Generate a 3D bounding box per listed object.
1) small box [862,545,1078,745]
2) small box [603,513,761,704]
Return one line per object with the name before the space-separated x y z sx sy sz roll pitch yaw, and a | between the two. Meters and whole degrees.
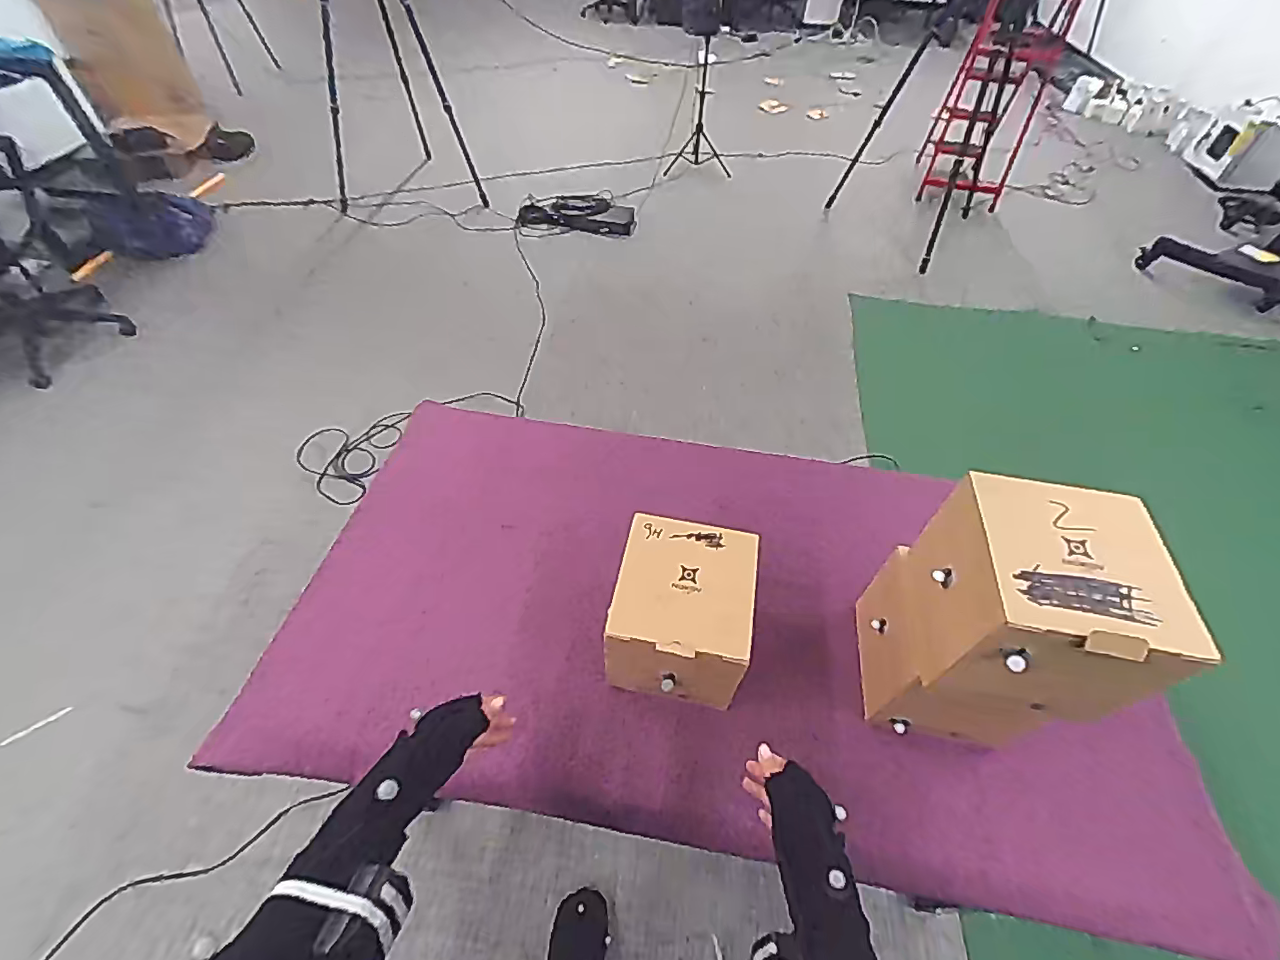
small box | 0.393 0.213 0.684 0.168 0.176 0.179 12 52 6
small box | 0.055 0.172 0.706 0.168 0.176 0.179 11 52 6
